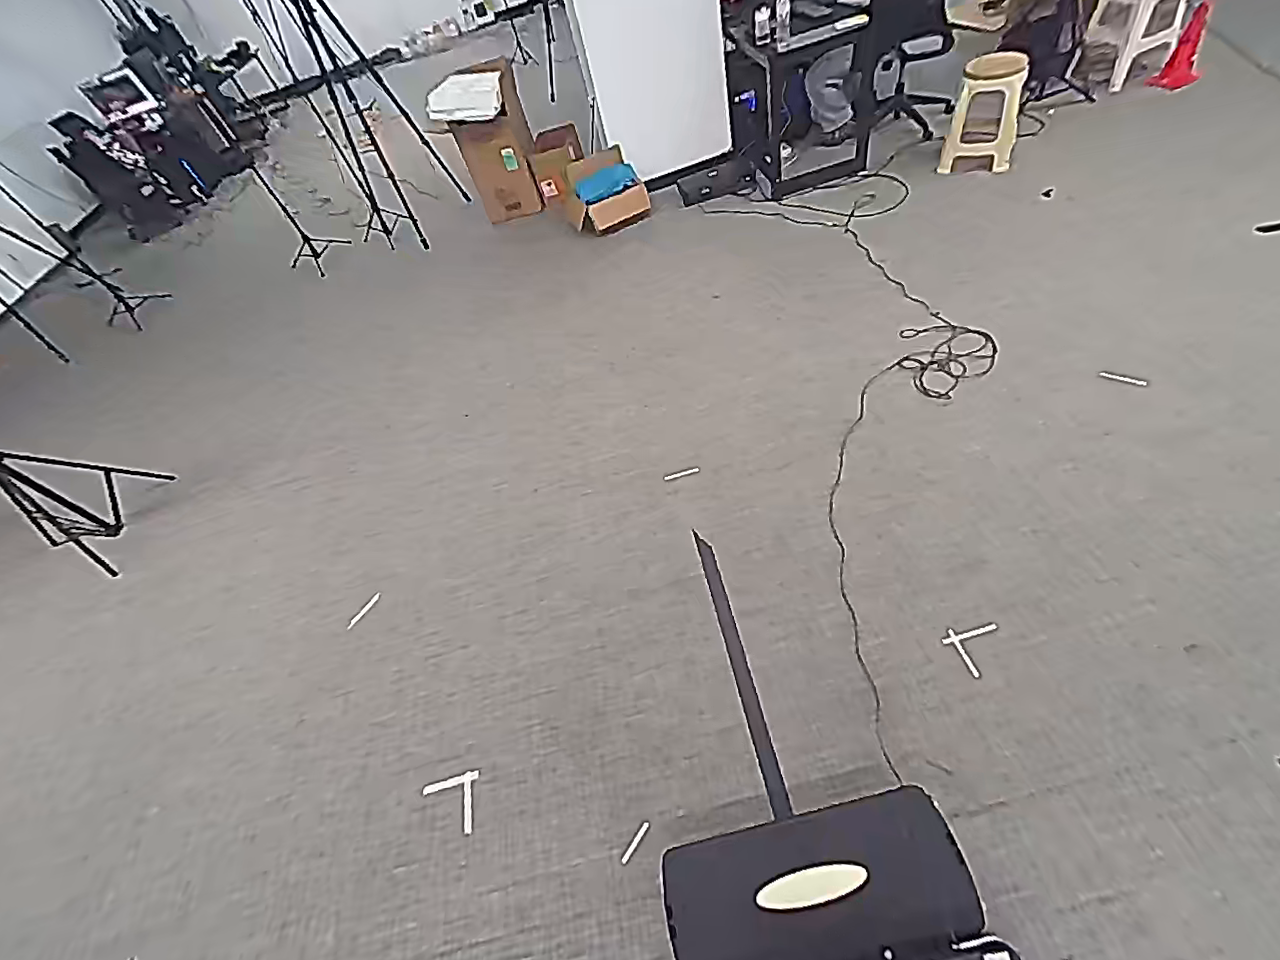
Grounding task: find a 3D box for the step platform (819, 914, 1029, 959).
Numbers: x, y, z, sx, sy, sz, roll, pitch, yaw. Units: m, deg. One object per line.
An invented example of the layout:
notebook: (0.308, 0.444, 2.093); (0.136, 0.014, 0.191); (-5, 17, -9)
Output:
step platform: (0.439, 1.081, 1.026); (0.684, 0.204, 0.286); (-18, 48, 3)
